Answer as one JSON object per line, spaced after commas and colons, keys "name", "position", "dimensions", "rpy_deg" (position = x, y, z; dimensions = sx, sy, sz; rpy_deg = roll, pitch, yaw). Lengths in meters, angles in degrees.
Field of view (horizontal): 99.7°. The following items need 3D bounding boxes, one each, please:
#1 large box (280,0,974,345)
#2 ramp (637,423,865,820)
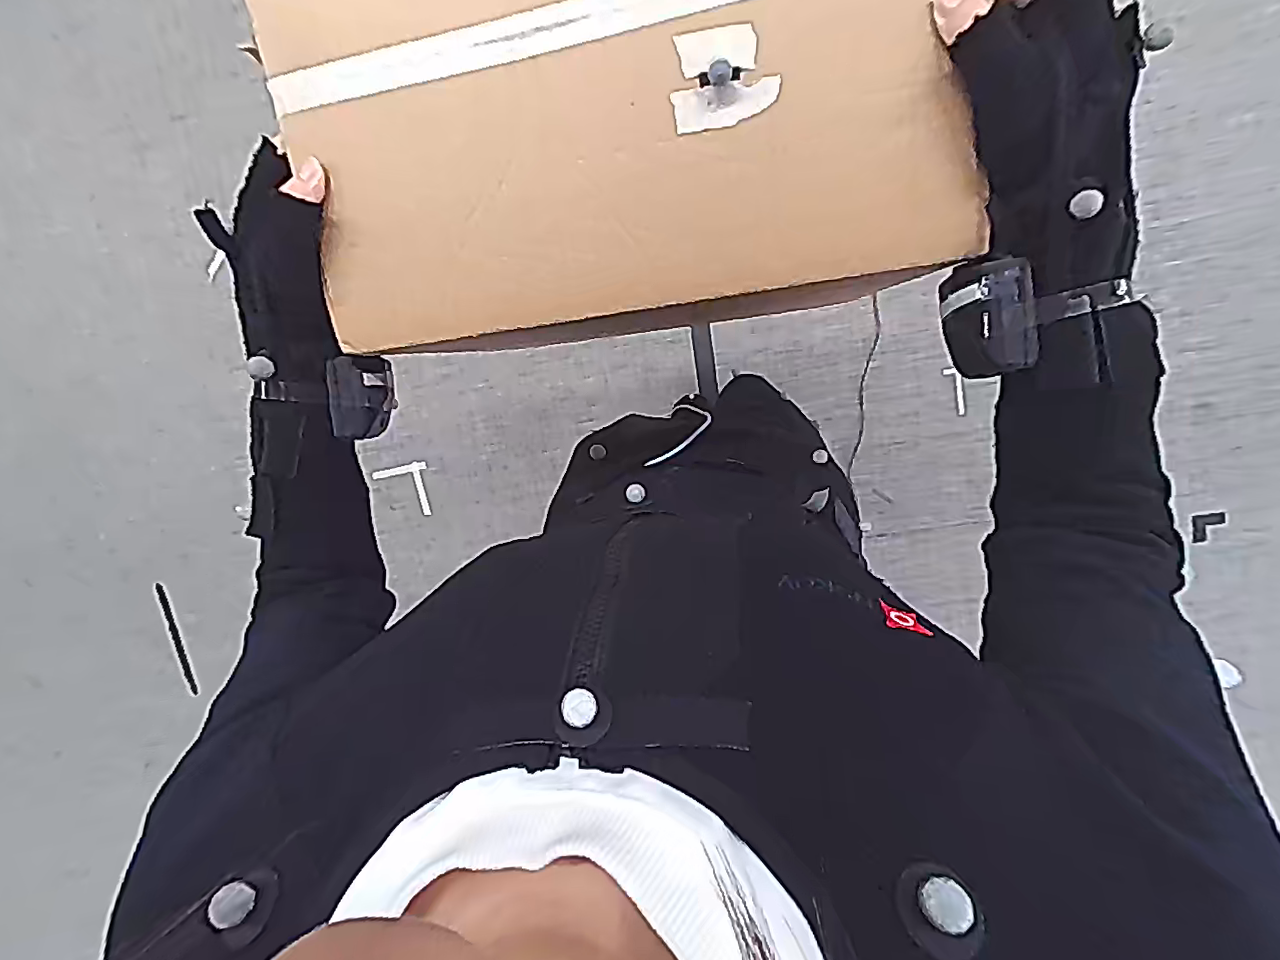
{"name": "large box", "position": [-0.004, -0.302, 0.458], "dimensions": [0.408, 0.320, 0.320], "rpy_deg": [-6, 104, 9]}
{"name": "ramp", "position": [0.274, 0.372, 1.410], "dimensions": [0.509, 0.206, 0.991], "rpy_deg": [-8, 98, 11]}
